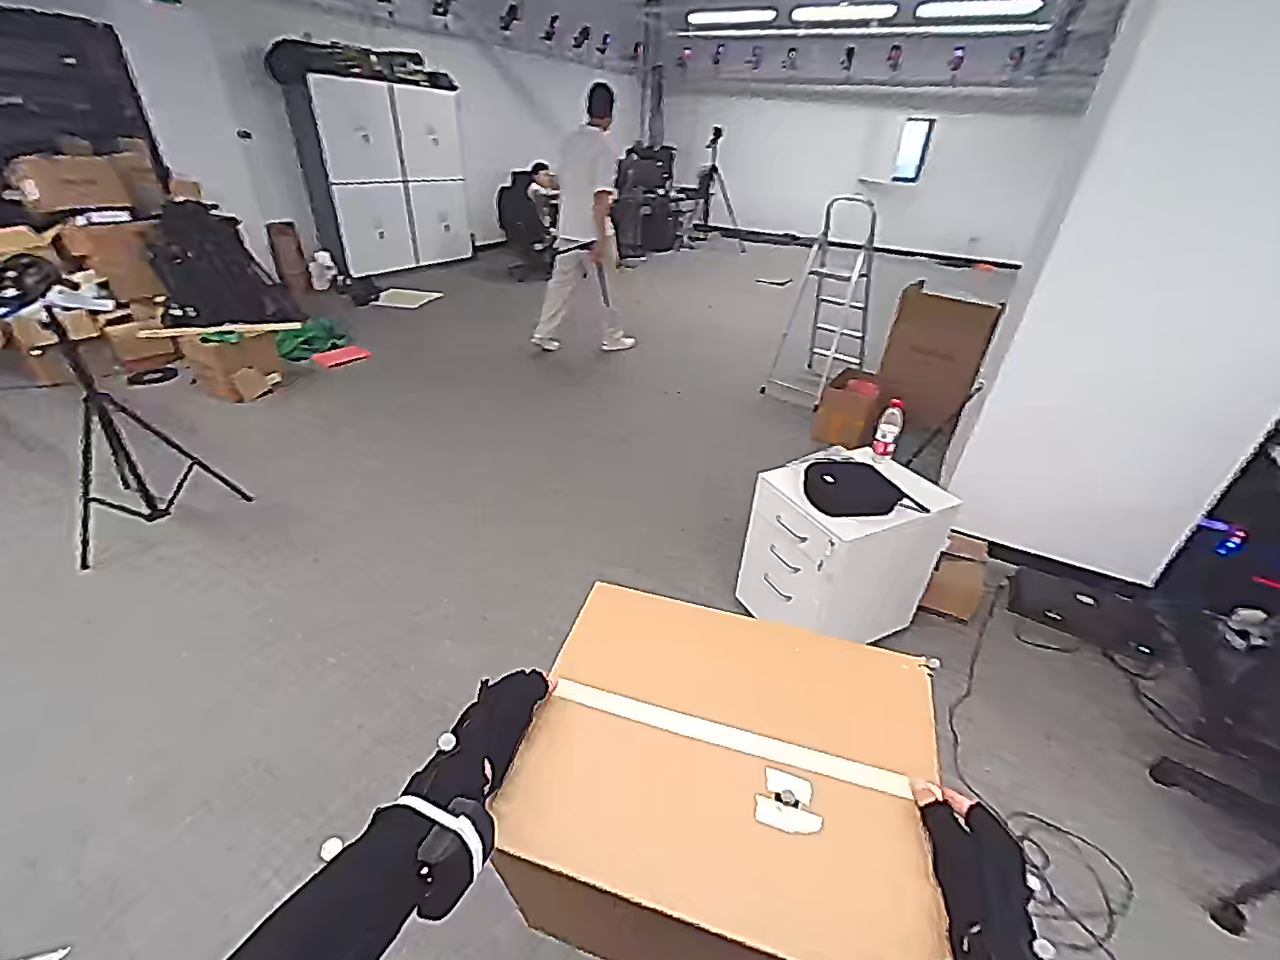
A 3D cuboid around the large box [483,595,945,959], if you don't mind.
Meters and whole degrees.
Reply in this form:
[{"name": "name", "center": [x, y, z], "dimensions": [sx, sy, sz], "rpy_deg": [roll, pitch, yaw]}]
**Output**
[{"name": "large box", "center": [0.085, 0.390, 0.656], "dimensions": [0.408, 0.320, 0.320], "rpy_deg": [10, 40, 14]}]
